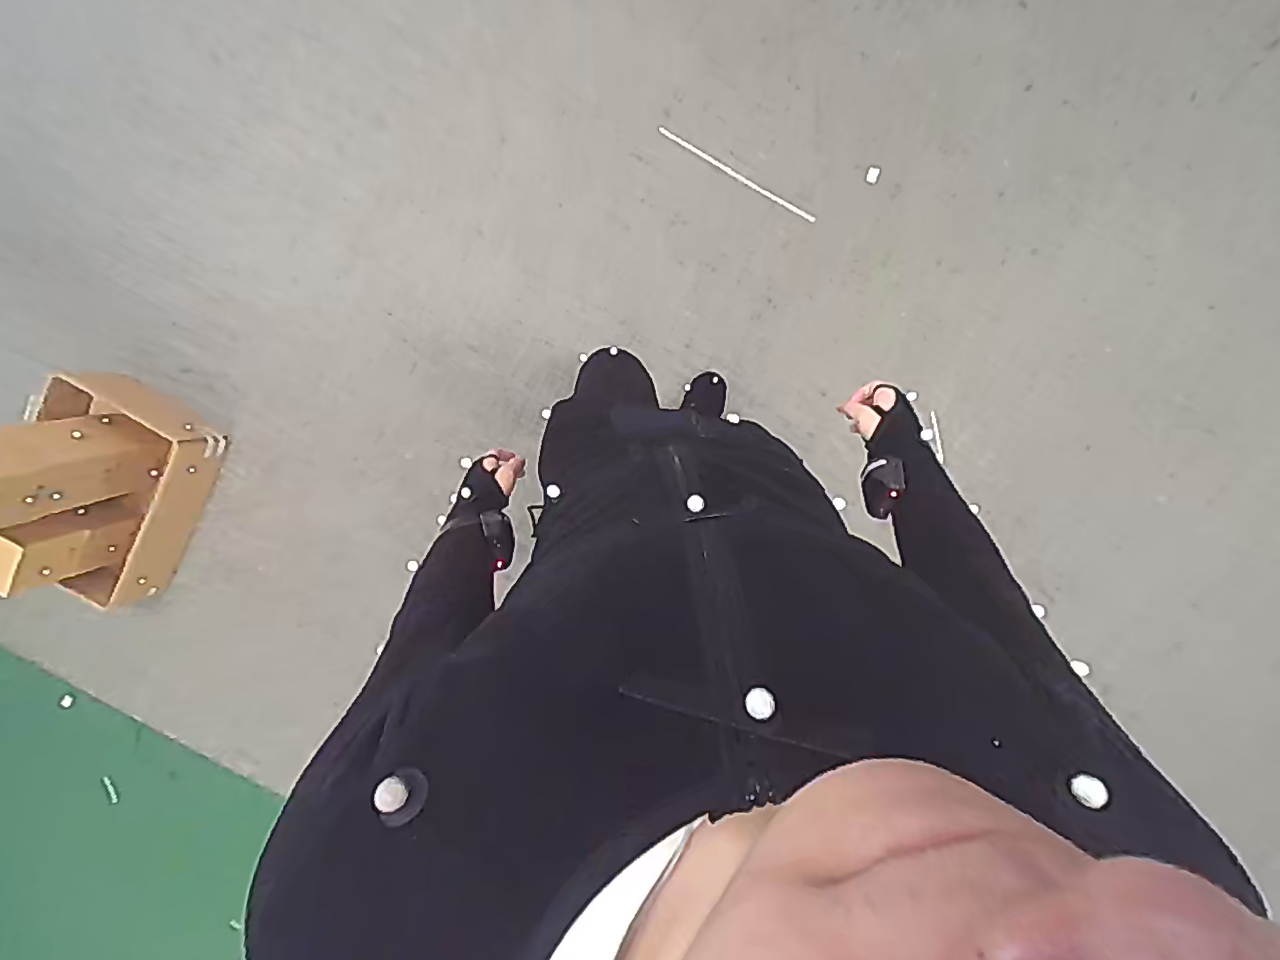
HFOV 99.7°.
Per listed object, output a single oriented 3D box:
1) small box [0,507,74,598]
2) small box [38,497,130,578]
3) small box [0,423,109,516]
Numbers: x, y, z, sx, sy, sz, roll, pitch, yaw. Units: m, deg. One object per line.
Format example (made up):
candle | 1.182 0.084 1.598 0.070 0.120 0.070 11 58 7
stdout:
small box | -1.693 0.183 1.445 0.179 0.176 0.168 30 101 -3
small box | -1.689 0.157 1.605 0.179 0.176 0.168 31 100 -3
small box | -1.554 -0.036 1.397 0.179 0.176 0.168 31 103 -3
